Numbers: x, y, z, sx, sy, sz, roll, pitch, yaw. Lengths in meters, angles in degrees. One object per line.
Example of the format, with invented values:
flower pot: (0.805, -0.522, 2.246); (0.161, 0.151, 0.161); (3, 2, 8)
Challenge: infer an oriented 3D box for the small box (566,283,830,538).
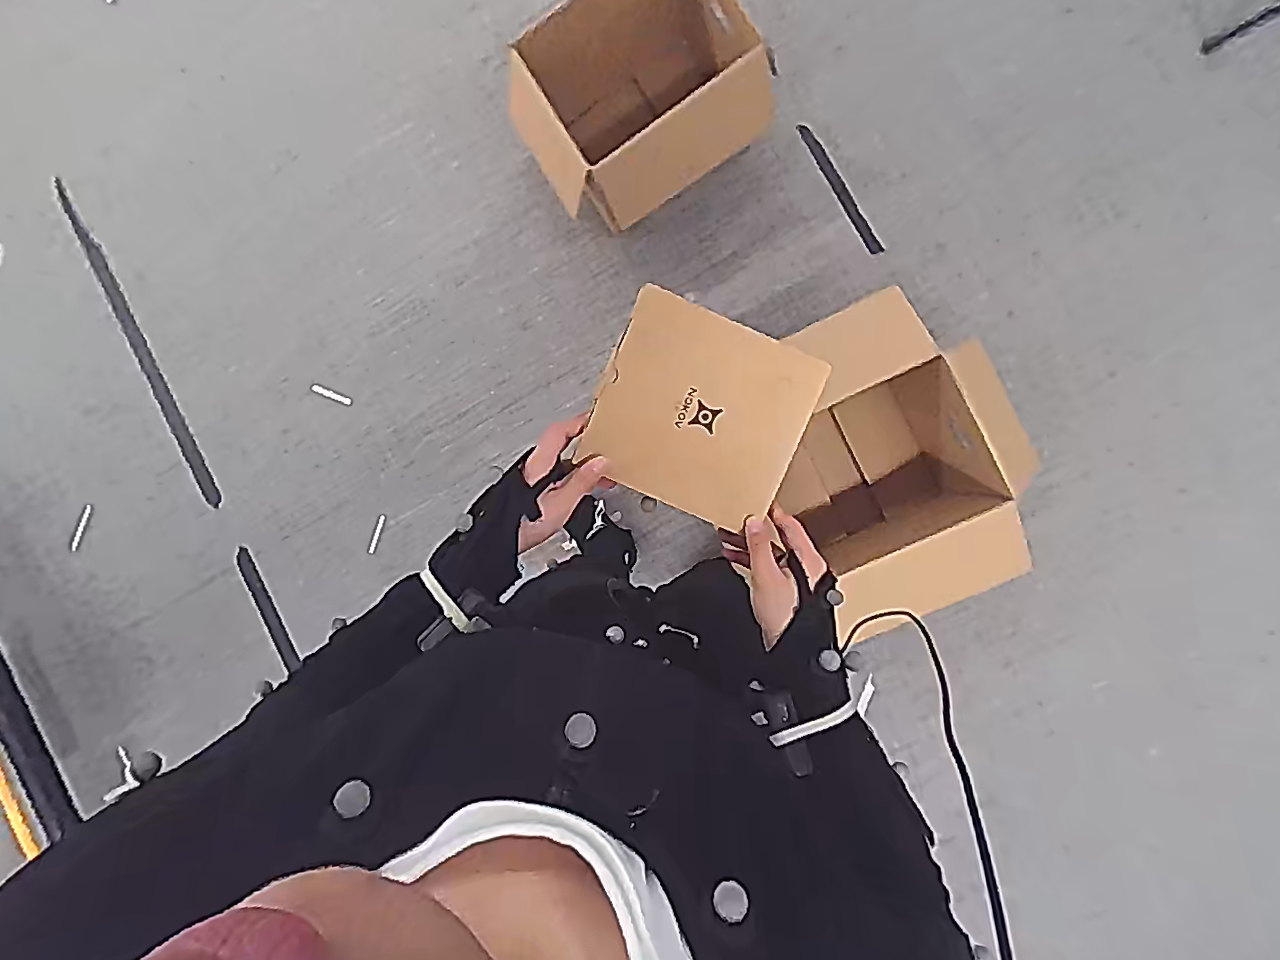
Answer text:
small box: (0.049, -0.064, 0.530); (0.179, 0.176, 0.168); (23, 95, -1)
